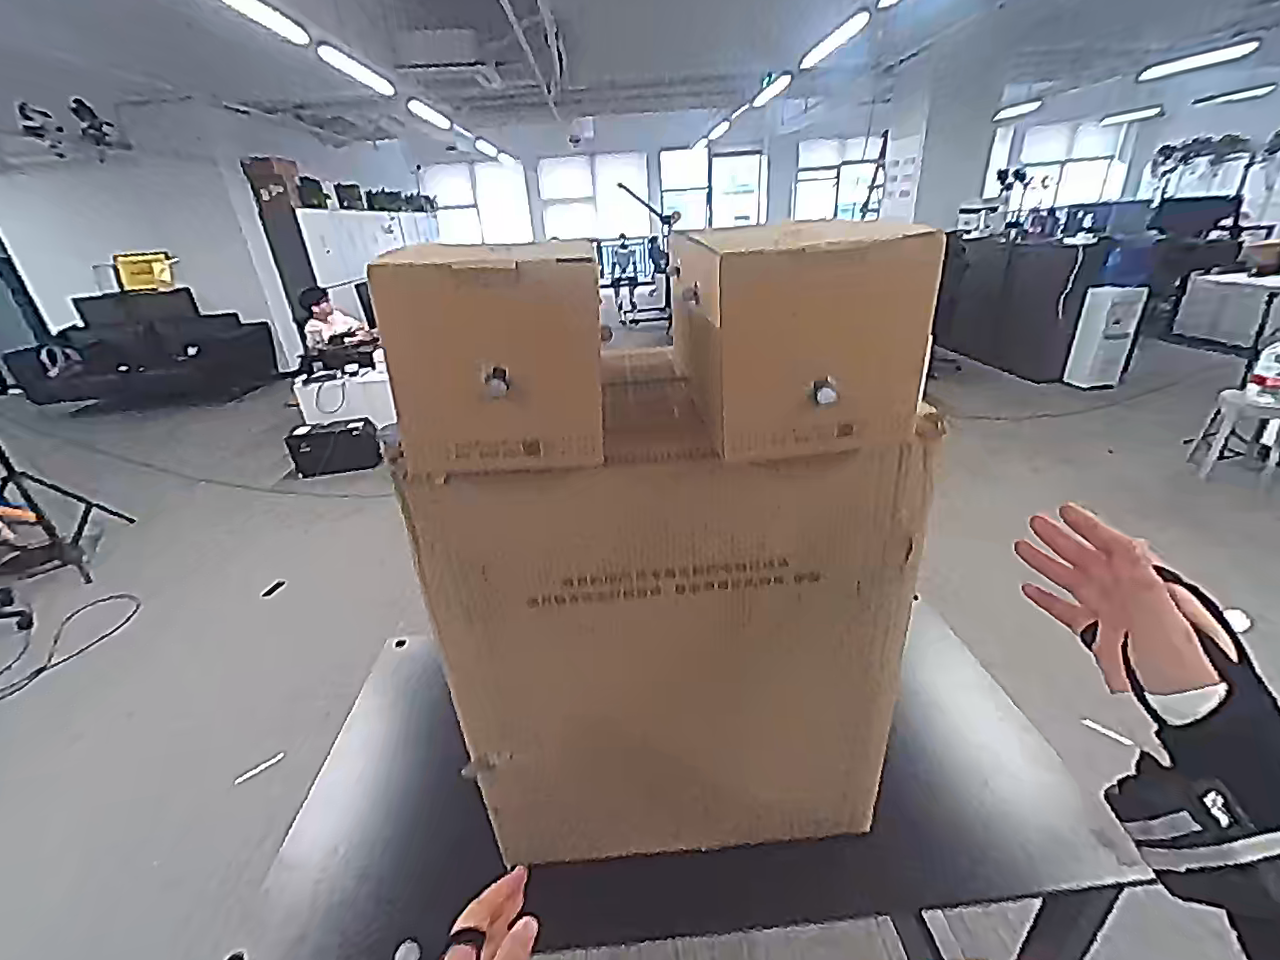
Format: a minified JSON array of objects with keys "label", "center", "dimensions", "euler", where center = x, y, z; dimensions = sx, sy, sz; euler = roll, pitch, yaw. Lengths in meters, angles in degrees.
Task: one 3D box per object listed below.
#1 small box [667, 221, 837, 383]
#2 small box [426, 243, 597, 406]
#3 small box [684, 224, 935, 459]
[{"label":"small box","center":[0.127,-0.220,0.671],"dimensions":[0.168,0.176,0.179],"euler":[-7,25,-2]},{"label":"small box","center":[-0.145,-0.198,0.674],"dimensions":[0.168,0.176,0.179],"euler":[-6,26,-3]},{"label":"small box","center":[0.135,-0.134,0.502],"dimensions":[0.168,0.176,0.179],"euler":[-7,29,-1]}]
